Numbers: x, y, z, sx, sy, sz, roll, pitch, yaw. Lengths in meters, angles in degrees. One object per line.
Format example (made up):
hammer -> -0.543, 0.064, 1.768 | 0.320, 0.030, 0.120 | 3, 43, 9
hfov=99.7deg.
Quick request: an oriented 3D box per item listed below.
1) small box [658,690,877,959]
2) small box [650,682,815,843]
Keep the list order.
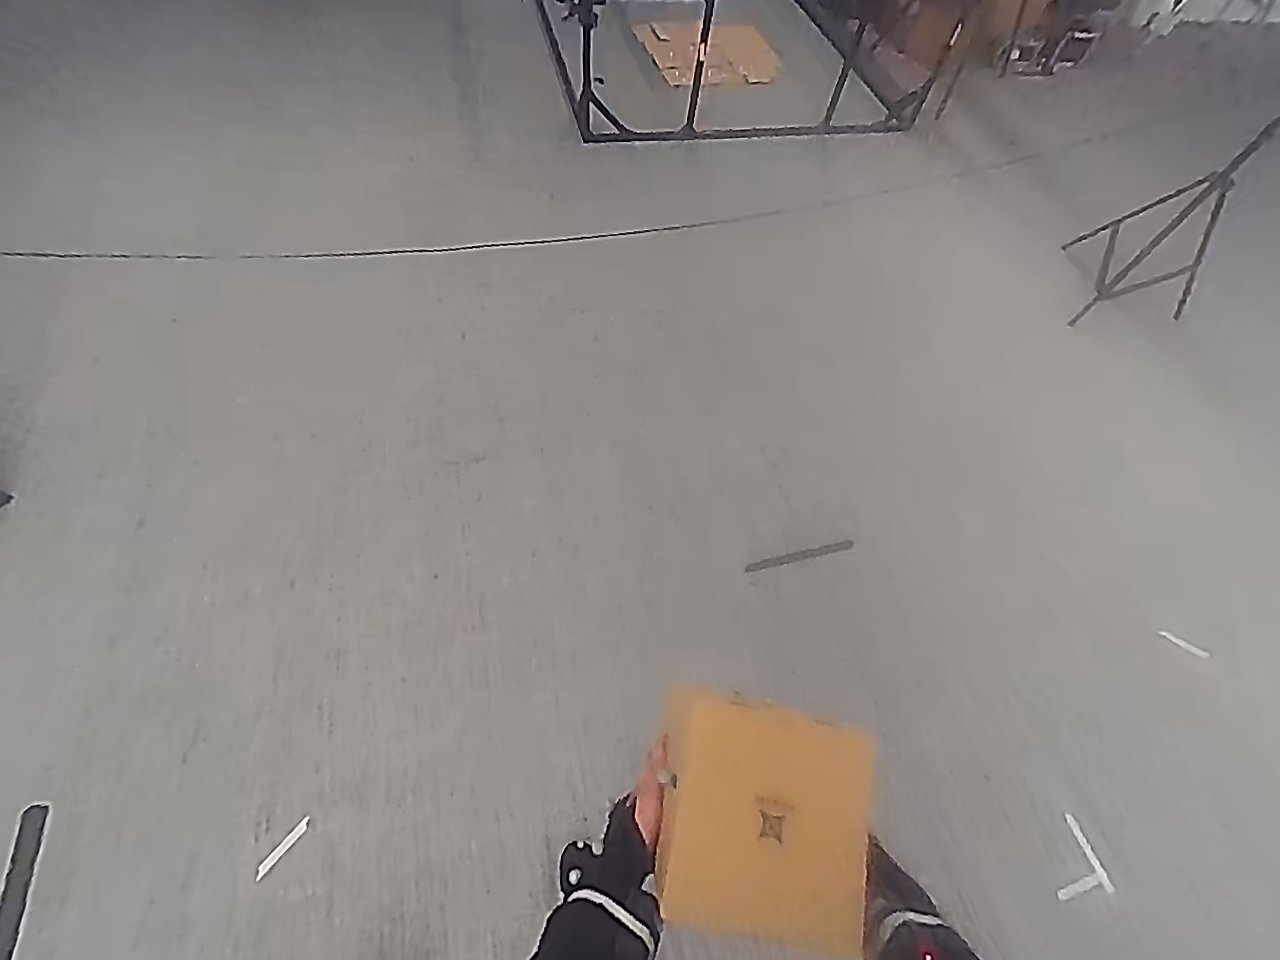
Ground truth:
small box -> 0.113, 0.316, 0.534 | 0.168, 0.176, 0.179 | 11, 69, 2
small box -> 0.109, 0.365, 0.689 | 0.168, 0.176, 0.179 | 12, 70, 2
